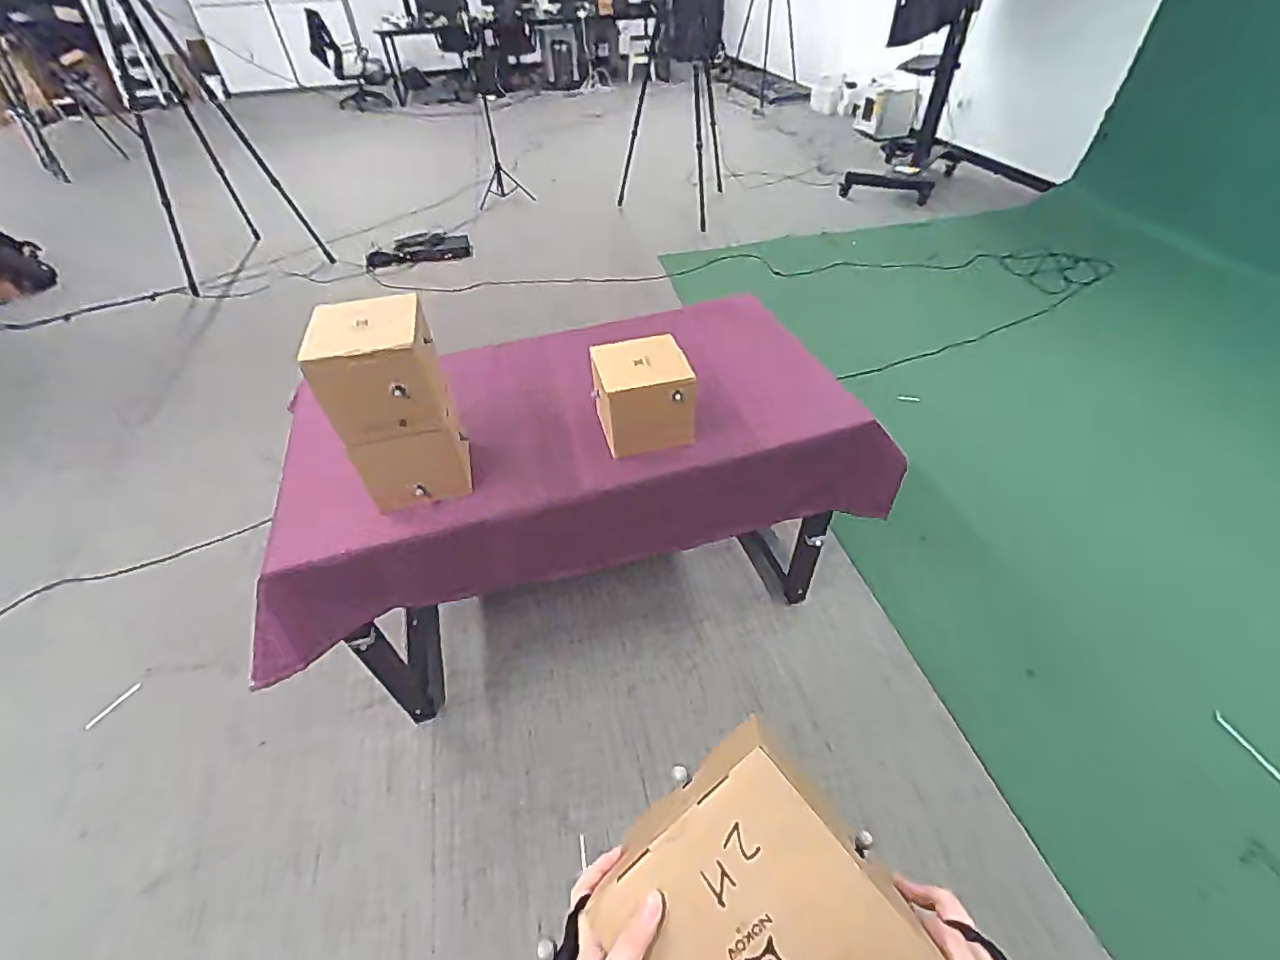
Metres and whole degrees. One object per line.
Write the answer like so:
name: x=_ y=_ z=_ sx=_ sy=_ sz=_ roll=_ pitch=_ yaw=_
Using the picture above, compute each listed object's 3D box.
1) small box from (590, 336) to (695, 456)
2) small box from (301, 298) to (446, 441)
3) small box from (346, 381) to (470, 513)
small box: x=0.006 y=-0.168 z=1.107 sx=0.179 sy=0.176 sz=0.168 roll=-12 pitch=46 yaw=-9
small box: x=-0.434 y=-0.181 z=0.915 sx=0.168 sy=0.176 sz=0.179 roll=-11 pitch=45 yaw=-8
small box: x=-0.427 y=-0.062 z=1.027 sx=0.179 sy=0.176 sz=0.168 roll=-13 pitch=45 yaw=-10
